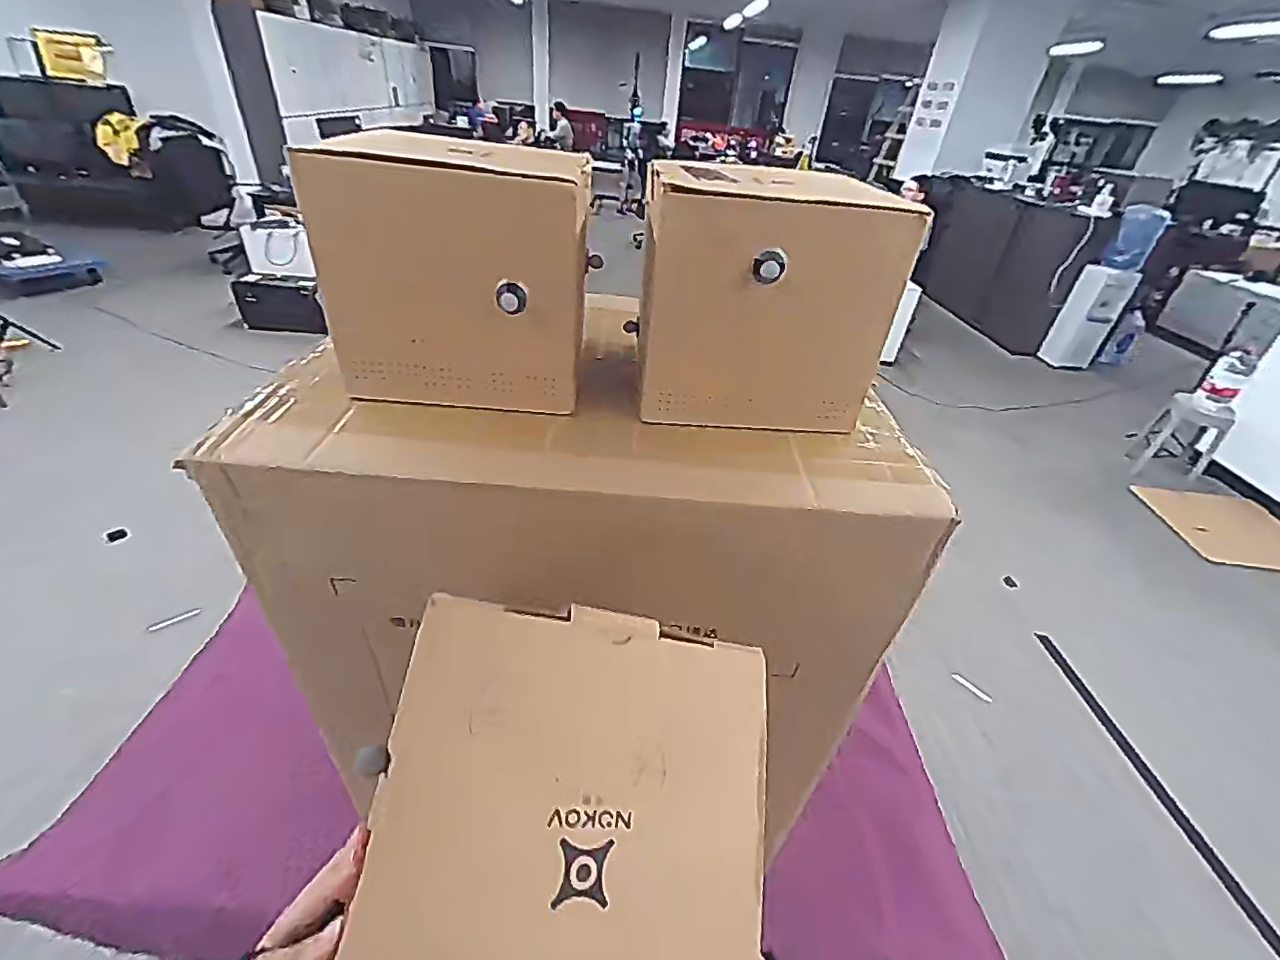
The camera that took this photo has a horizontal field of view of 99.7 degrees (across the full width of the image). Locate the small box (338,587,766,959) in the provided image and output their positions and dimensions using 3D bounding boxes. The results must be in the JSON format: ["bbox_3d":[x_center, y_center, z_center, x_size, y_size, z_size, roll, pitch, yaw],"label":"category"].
[{"bbox_3d":[-0.051,0.168,0.289,0.168,0.176,0.179,15,67,-19],"label":"small box"}]

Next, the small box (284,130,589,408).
[{"bbox_3d":[-0.135,-0.169,0.436,0.179,0.176,0.168,3,35,-5],"label":"small box"}]

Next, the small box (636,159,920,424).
[{"bbox_3d":[0.087,-0.158,0.450,0.179,0.176,0.168,3,35,-5],"label":"small box"}]
